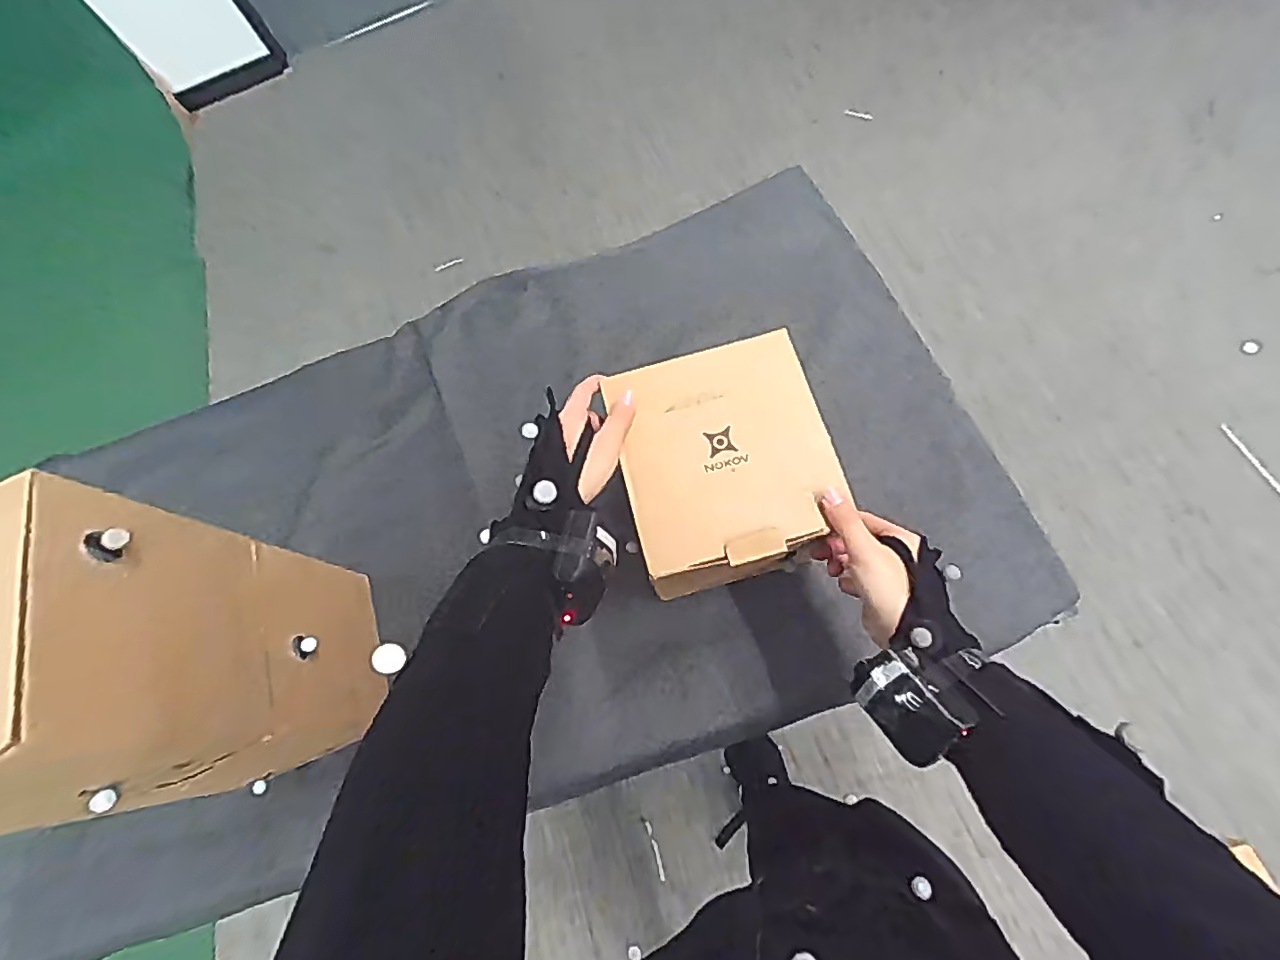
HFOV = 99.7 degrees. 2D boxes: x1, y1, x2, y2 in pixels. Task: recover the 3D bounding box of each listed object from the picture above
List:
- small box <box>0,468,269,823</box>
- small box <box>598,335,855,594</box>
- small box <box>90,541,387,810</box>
[{"bbox_3d":[-0.404,0.125,0.381,0.168,0.176,0.179,-25,67,0],"label":"small box"},{"bbox_3d":[0.070,0.002,0.503,0.168,0.176,0.179,-15,71,0],"label":"small box"},{"bbox_3d":[-0.377,0.186,0.532,0.168,0.176,0.179,-23,66,0],"label":"small box"}]
